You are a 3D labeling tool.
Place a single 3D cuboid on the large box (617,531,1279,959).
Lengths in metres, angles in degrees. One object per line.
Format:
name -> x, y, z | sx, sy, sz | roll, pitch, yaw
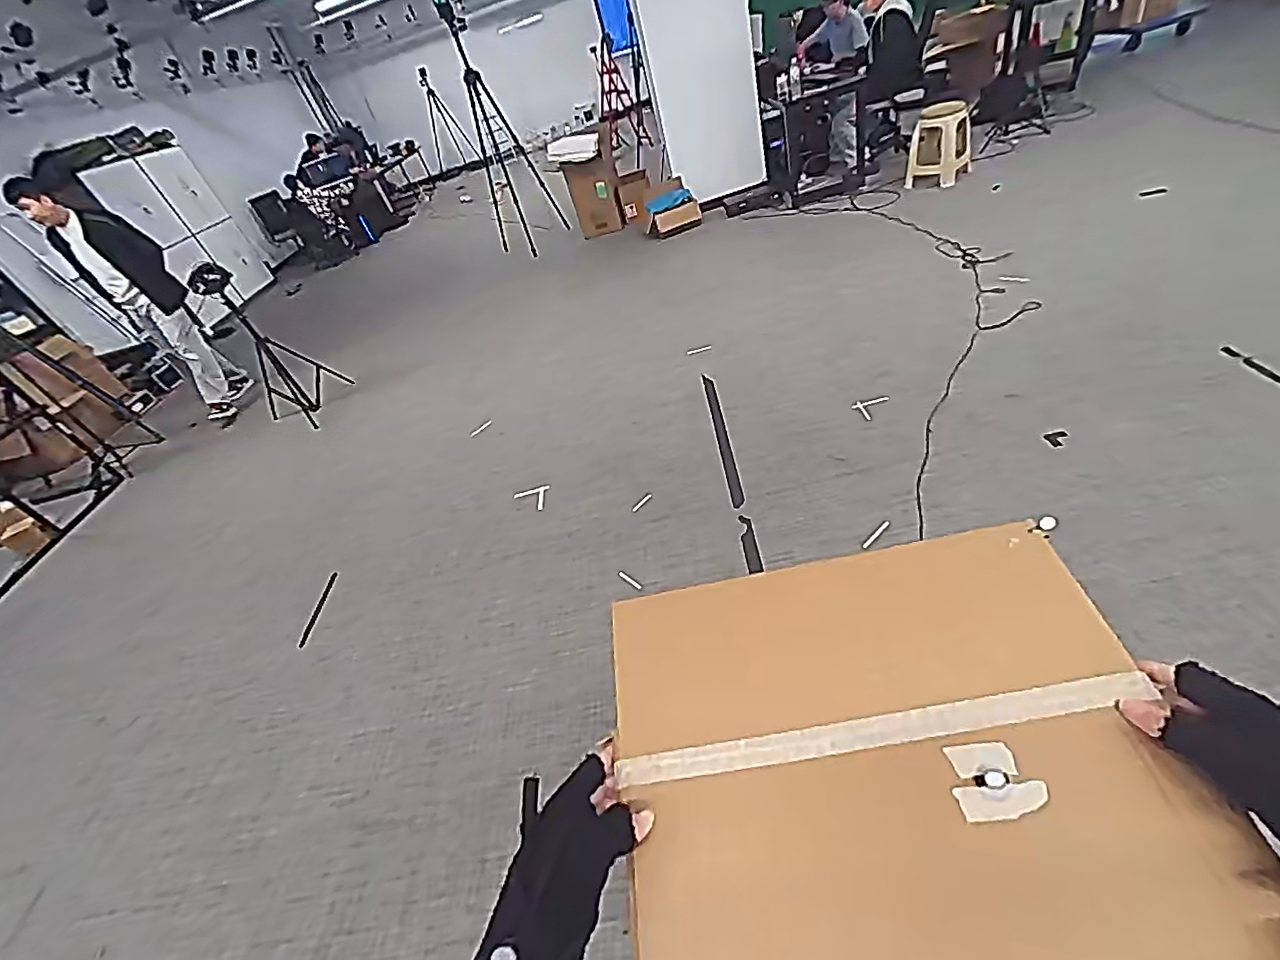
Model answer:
large box -> 0.216, 0.300, 0.543 | 0.408, 0.320, 0.320 | -13, 49, 7
